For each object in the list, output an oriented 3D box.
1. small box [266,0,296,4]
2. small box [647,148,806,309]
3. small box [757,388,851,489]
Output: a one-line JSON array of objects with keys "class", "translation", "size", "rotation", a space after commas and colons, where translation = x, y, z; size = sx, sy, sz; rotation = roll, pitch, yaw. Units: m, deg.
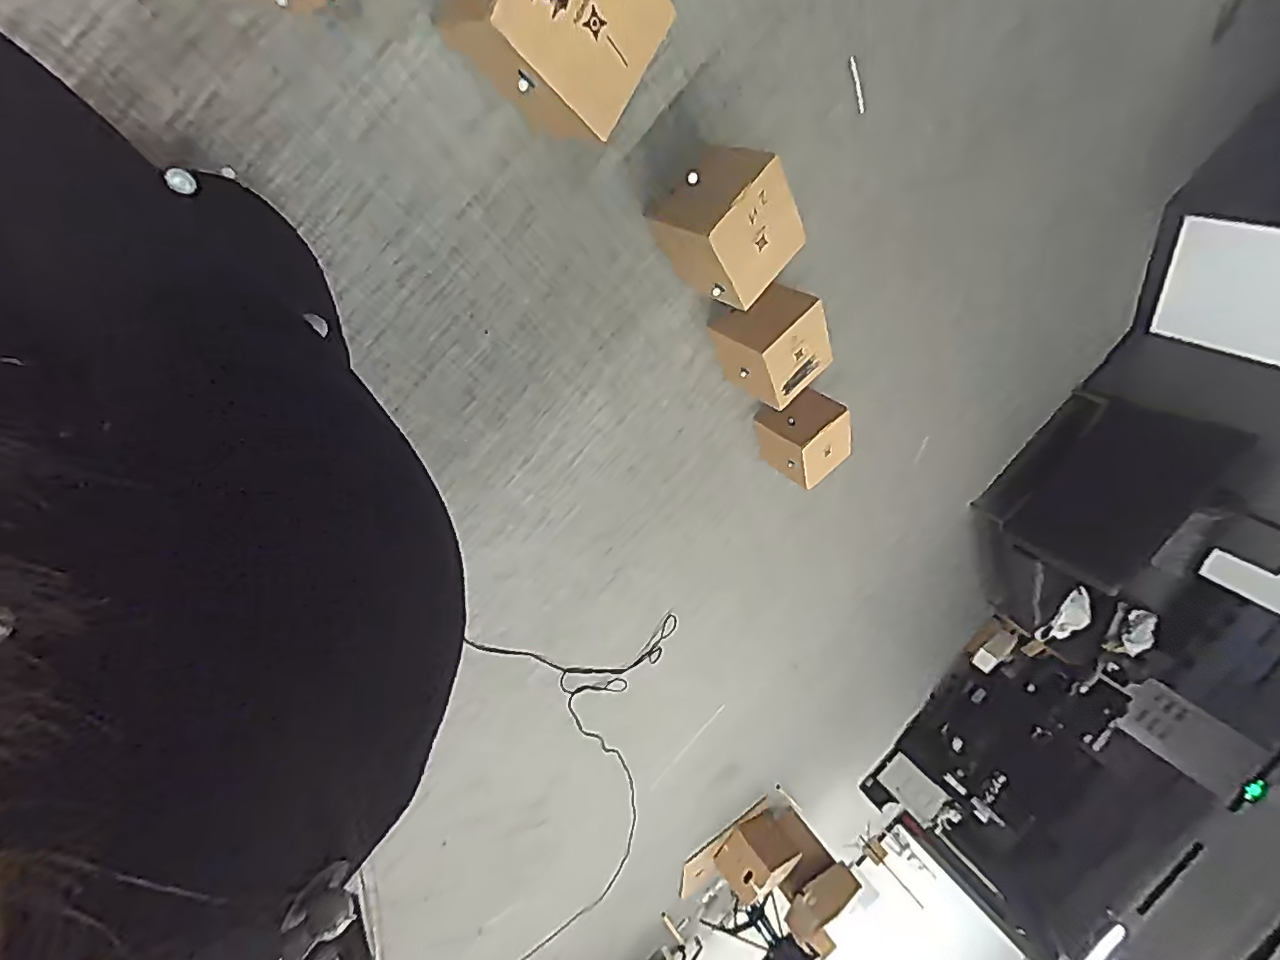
[{"class": "small box", "translation": [-0.366, -0.510, 0.429], "size": [0.179, 0.176, 0.168], "rotation": [-13, 128, -34]}, {"class": "small box", "translation": [0.147, -0.431, 0.923], "size": [0.168, 0.176, 0.179], "rotation": [-49, 139, 0]}, {"class": "small box", "translation": [0.424, -0.117, 1.406], "size": [0.168, 0.176, 0.179], "rotation": [-38, 139, -11]}]
